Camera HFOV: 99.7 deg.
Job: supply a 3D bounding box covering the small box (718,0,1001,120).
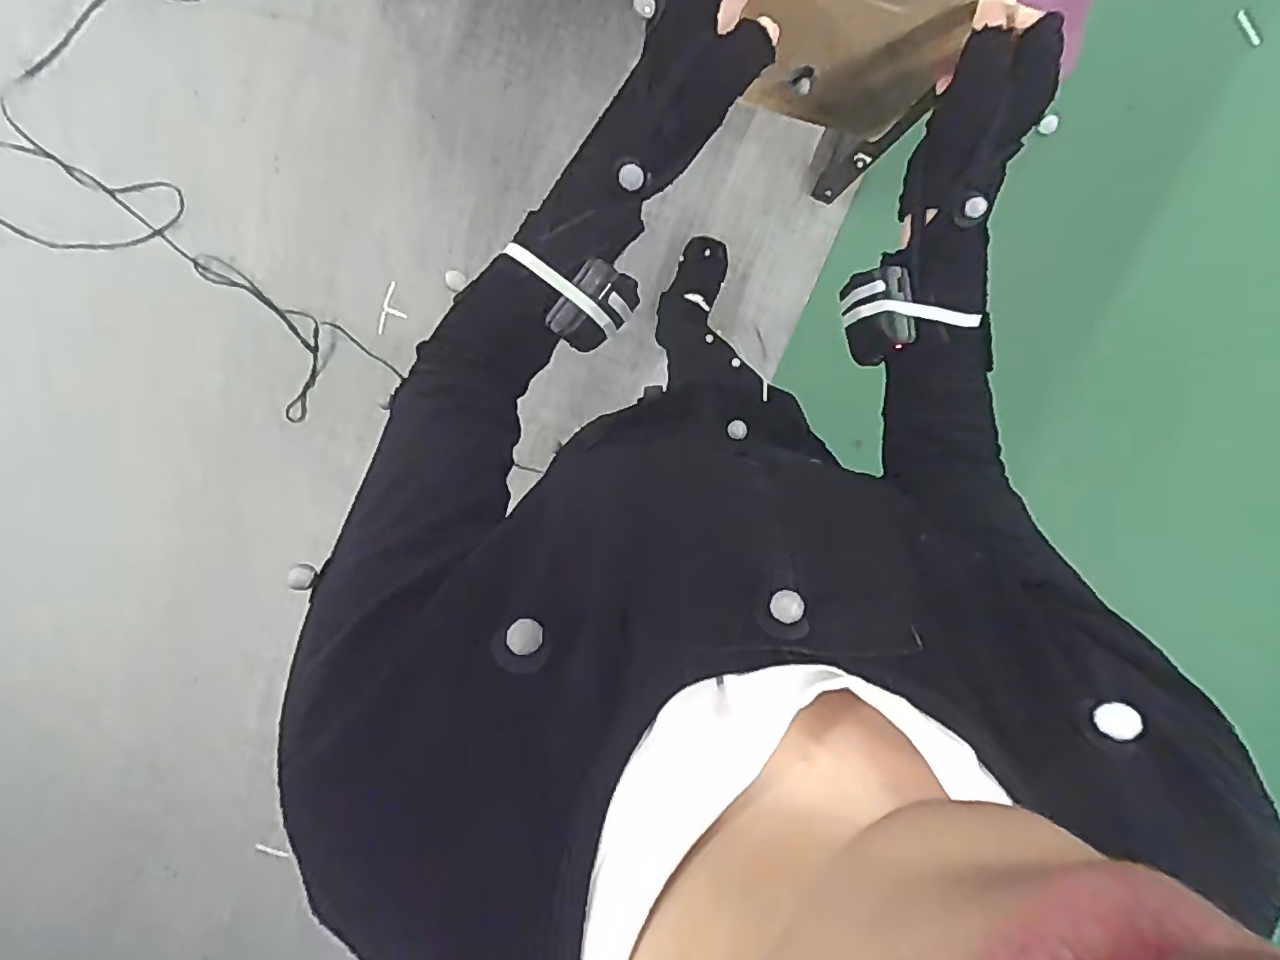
[{"bbox_3d":[0.168,-0.422,0.407,0.168,0.176,0.179,10,97,-7],"label":"small box"}]
